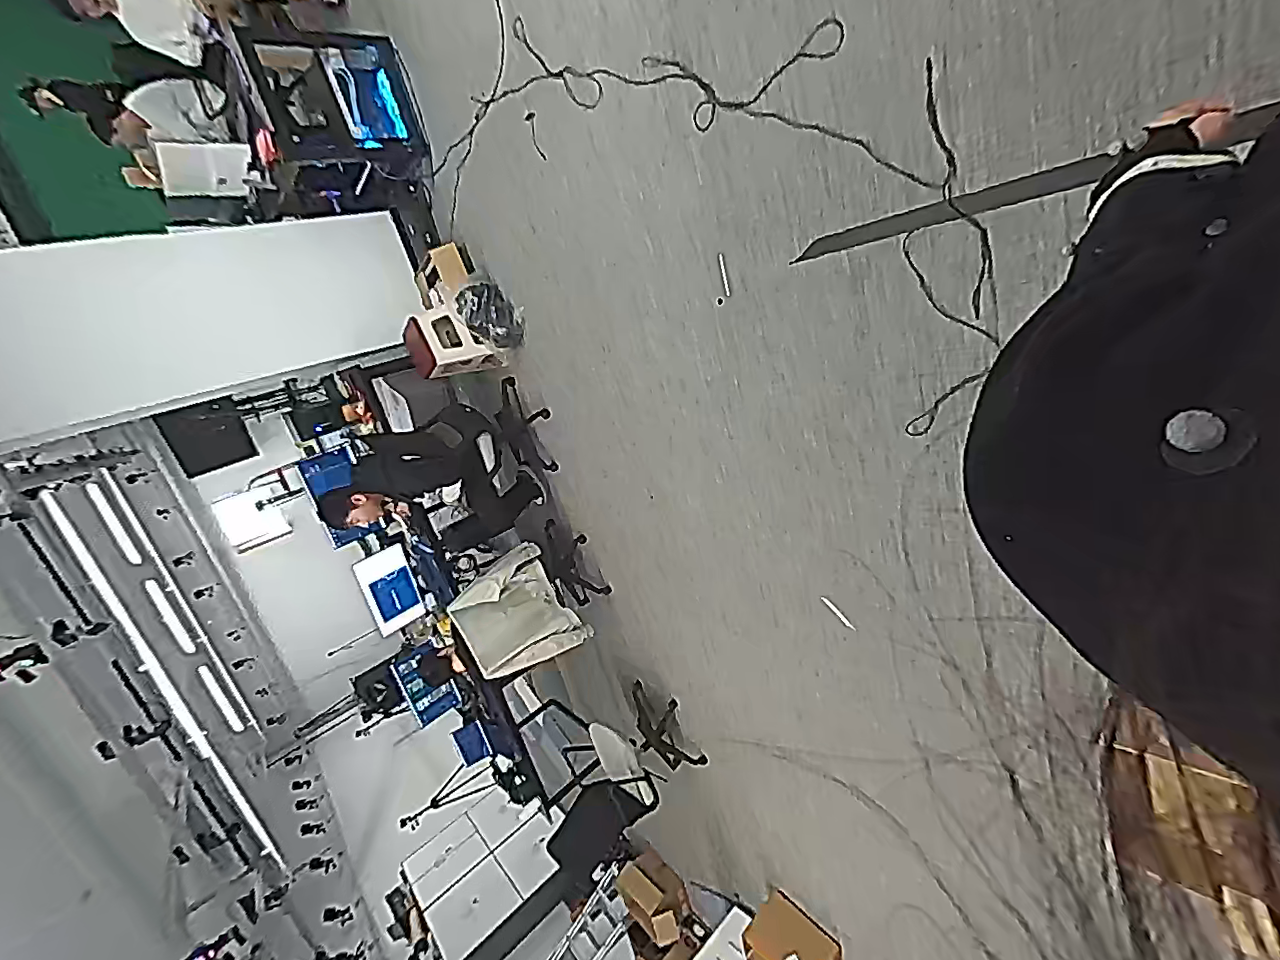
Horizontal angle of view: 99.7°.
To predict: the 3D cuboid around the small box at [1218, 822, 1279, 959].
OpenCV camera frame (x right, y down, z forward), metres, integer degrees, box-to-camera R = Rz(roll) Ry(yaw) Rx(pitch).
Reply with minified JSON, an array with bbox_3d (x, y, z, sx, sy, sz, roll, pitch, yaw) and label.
[{"bbox_3d":[1.299,0.849,1.089,0.168,0.176,0.179,0,113,52],"label":"small box"}]
